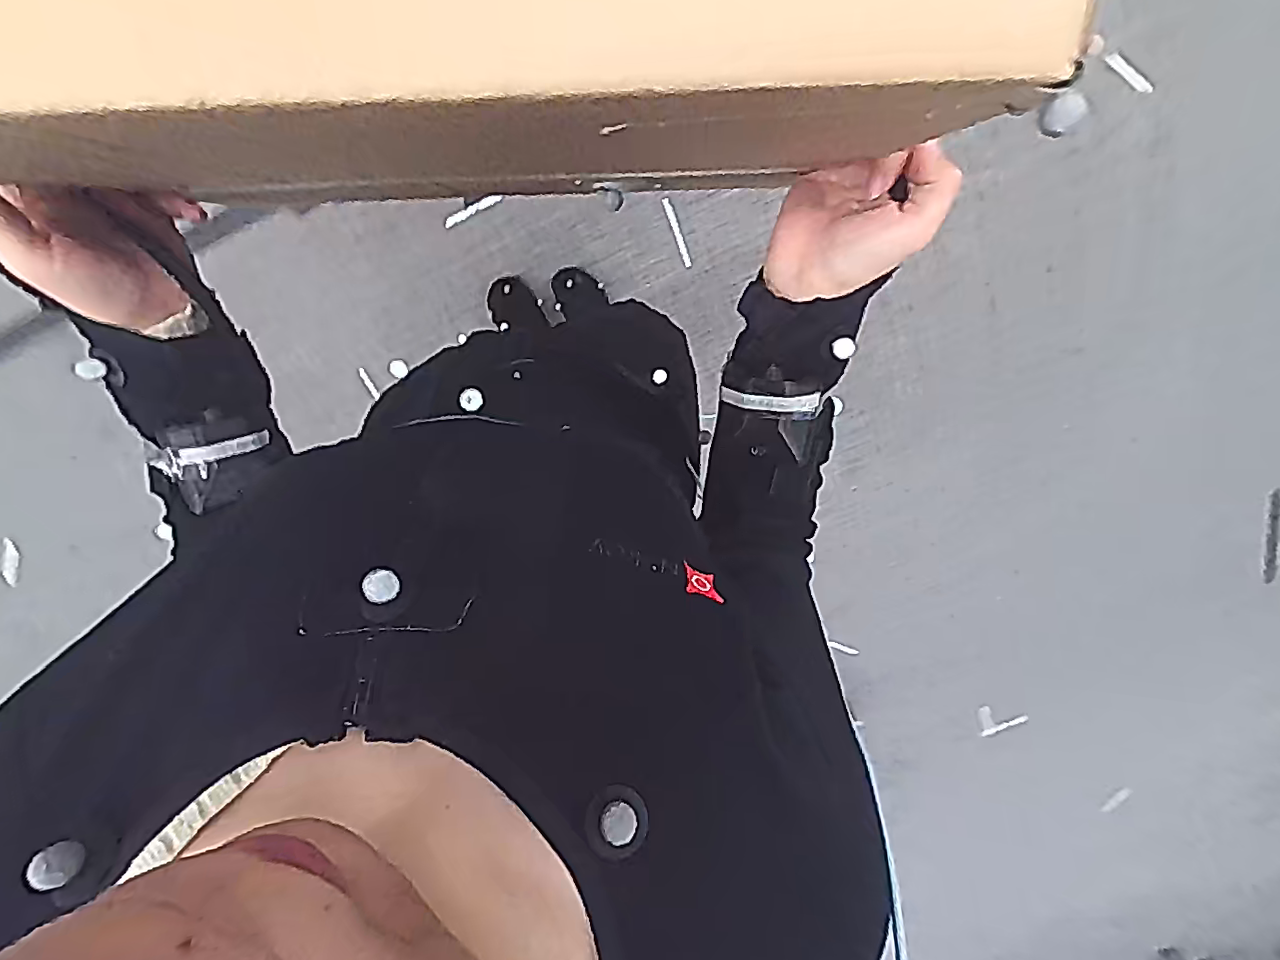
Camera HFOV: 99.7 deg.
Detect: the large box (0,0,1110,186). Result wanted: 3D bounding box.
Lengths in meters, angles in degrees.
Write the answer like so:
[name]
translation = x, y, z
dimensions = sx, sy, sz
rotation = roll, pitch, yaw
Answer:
[large box]
translation = -0.083, -0.313, 0.217
dimensions = 0.408, 0.320, 0.320
rotation = -3, 115, -2
